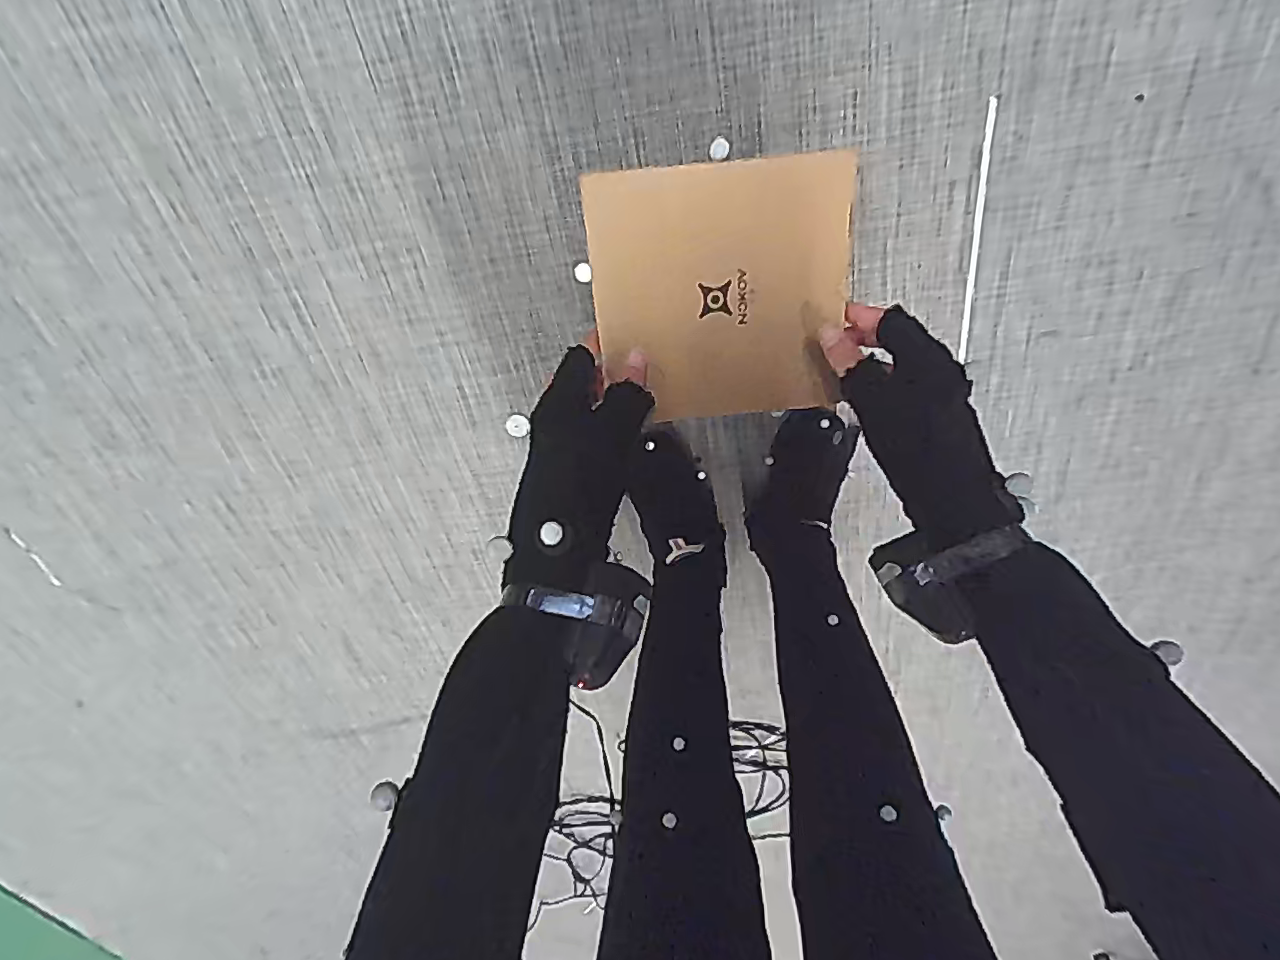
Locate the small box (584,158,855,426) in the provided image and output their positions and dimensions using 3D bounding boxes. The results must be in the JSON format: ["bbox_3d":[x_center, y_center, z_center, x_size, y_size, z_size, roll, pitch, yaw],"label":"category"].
[{"bbox_3d":[0.054,-0.153,0.447,0.179,0.176,0.168,-6,113,0],"label":"small box"}]
